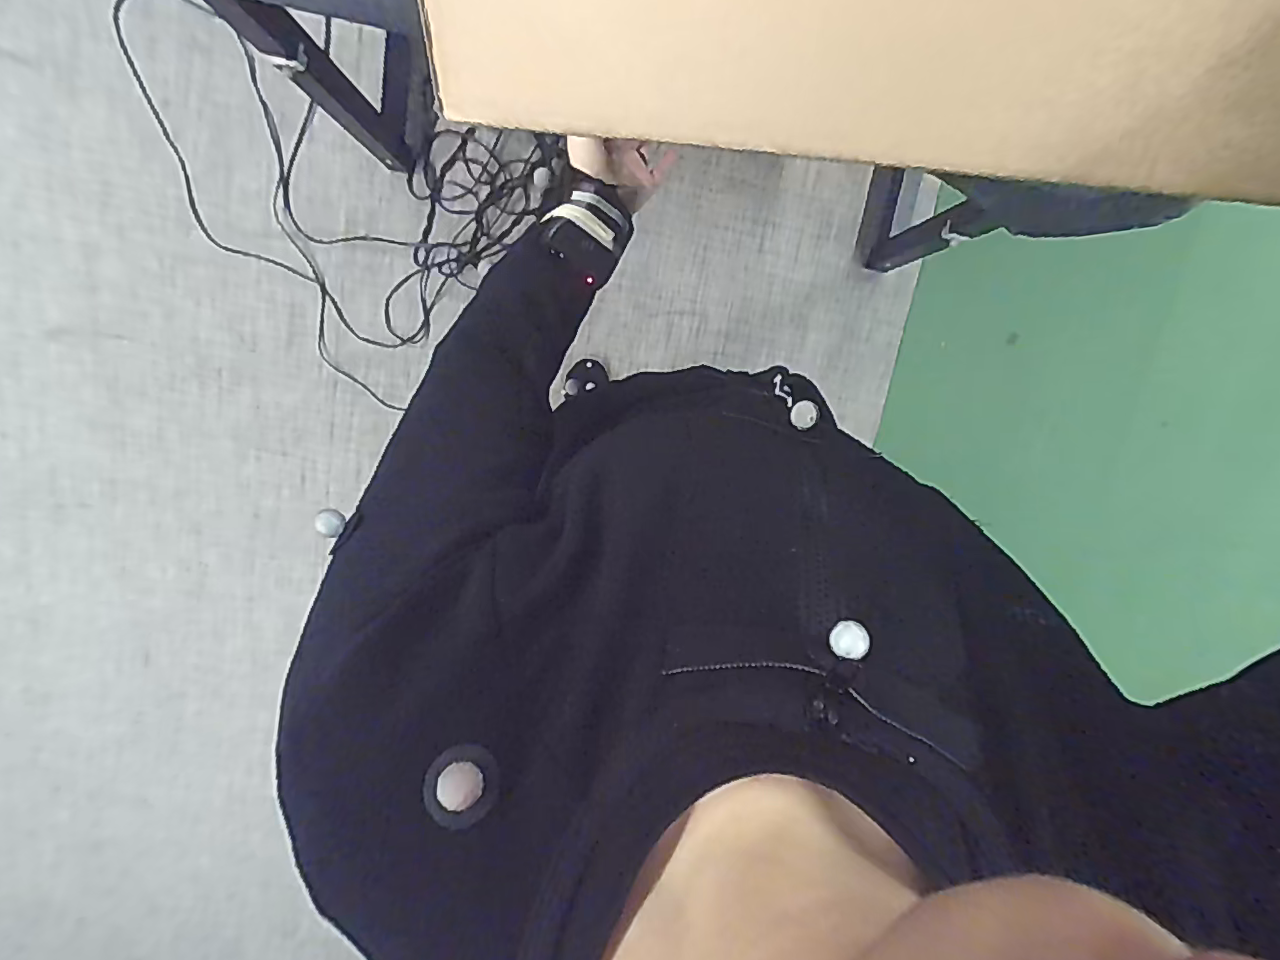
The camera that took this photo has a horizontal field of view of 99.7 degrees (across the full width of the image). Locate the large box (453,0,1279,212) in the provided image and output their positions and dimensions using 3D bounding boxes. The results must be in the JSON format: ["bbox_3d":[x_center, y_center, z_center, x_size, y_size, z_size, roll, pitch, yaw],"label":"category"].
[{"bbox_3d":[0.147,-0.338,0.257,0.408,0.320,0.320,11,128,13],"label":"large box"}]
